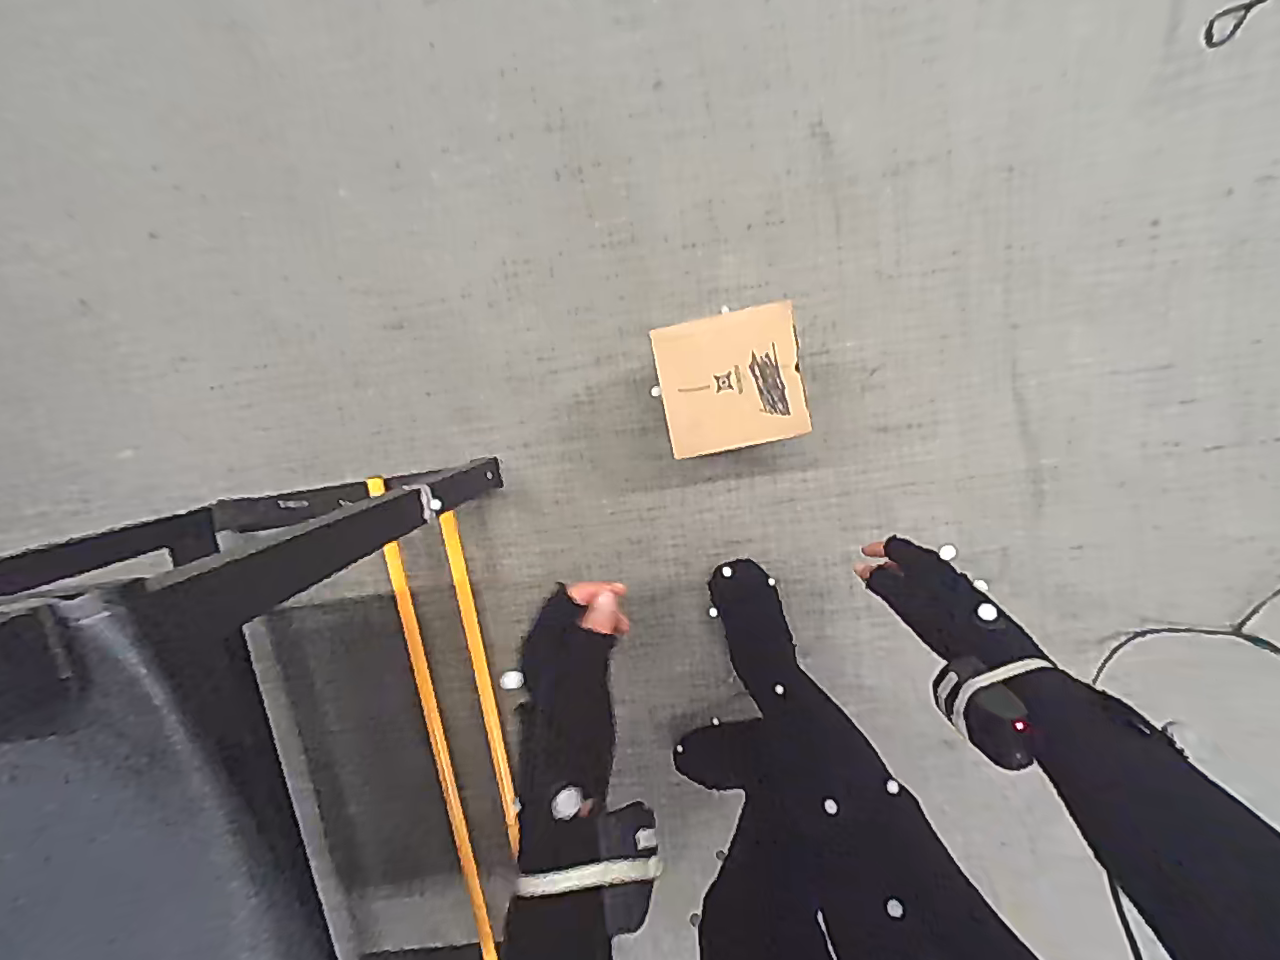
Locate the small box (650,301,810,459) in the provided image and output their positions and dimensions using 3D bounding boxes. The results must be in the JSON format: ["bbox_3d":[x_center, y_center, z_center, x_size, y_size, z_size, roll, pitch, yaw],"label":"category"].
[{"bbox_3d":[0.116,-0.135,0.738,0.179,0.176,0.168,-11,99,7],"label":"small box"}]
